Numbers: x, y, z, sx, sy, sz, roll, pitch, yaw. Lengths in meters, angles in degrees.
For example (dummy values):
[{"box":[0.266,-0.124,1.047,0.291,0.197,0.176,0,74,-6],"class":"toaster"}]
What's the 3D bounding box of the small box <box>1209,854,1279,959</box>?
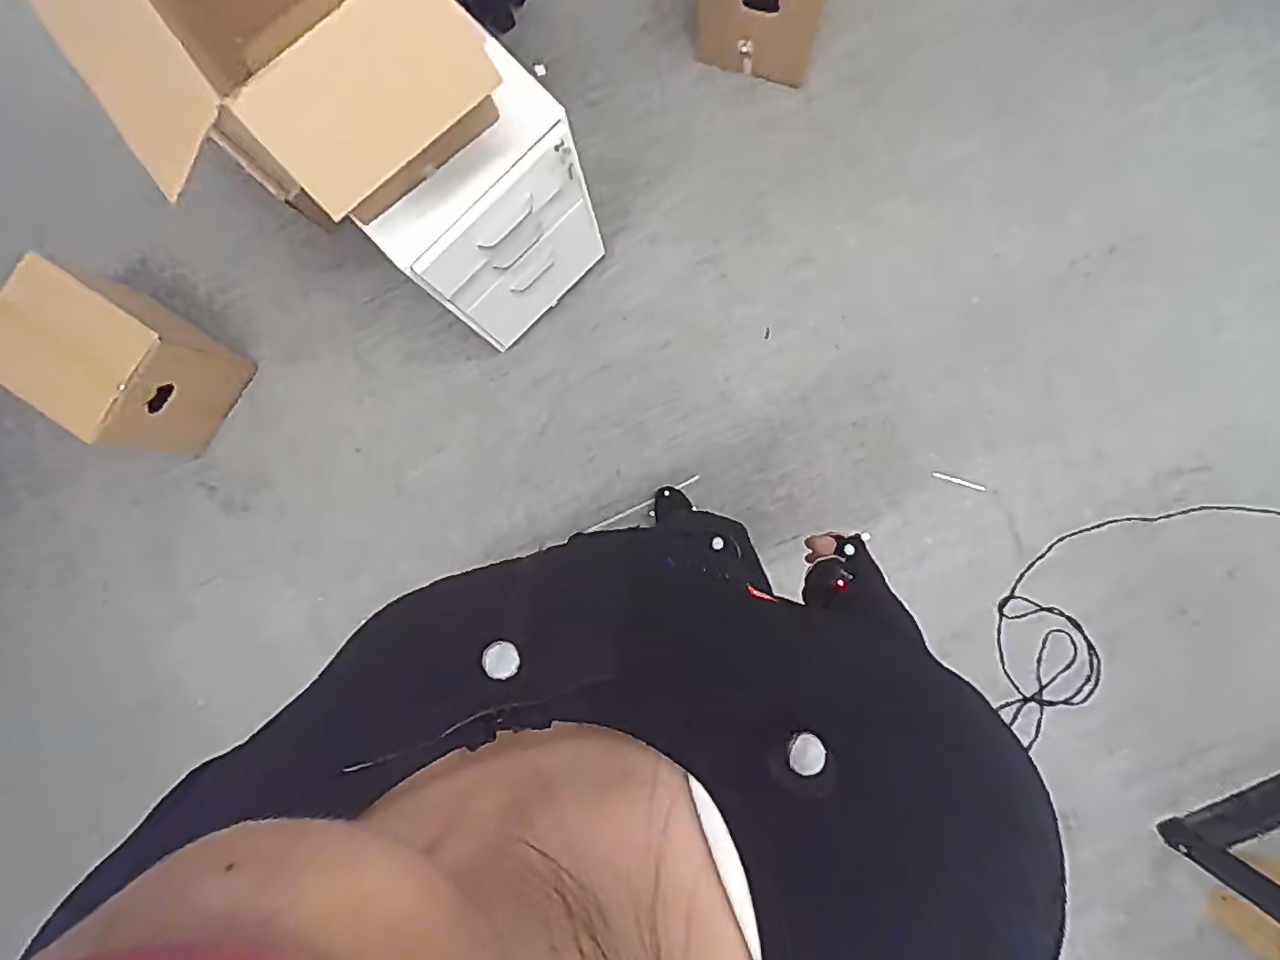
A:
[{"box":[1.524,1.031,1.286,0.179,0.176,0.168,7,88,3],"class":"small box"}]
